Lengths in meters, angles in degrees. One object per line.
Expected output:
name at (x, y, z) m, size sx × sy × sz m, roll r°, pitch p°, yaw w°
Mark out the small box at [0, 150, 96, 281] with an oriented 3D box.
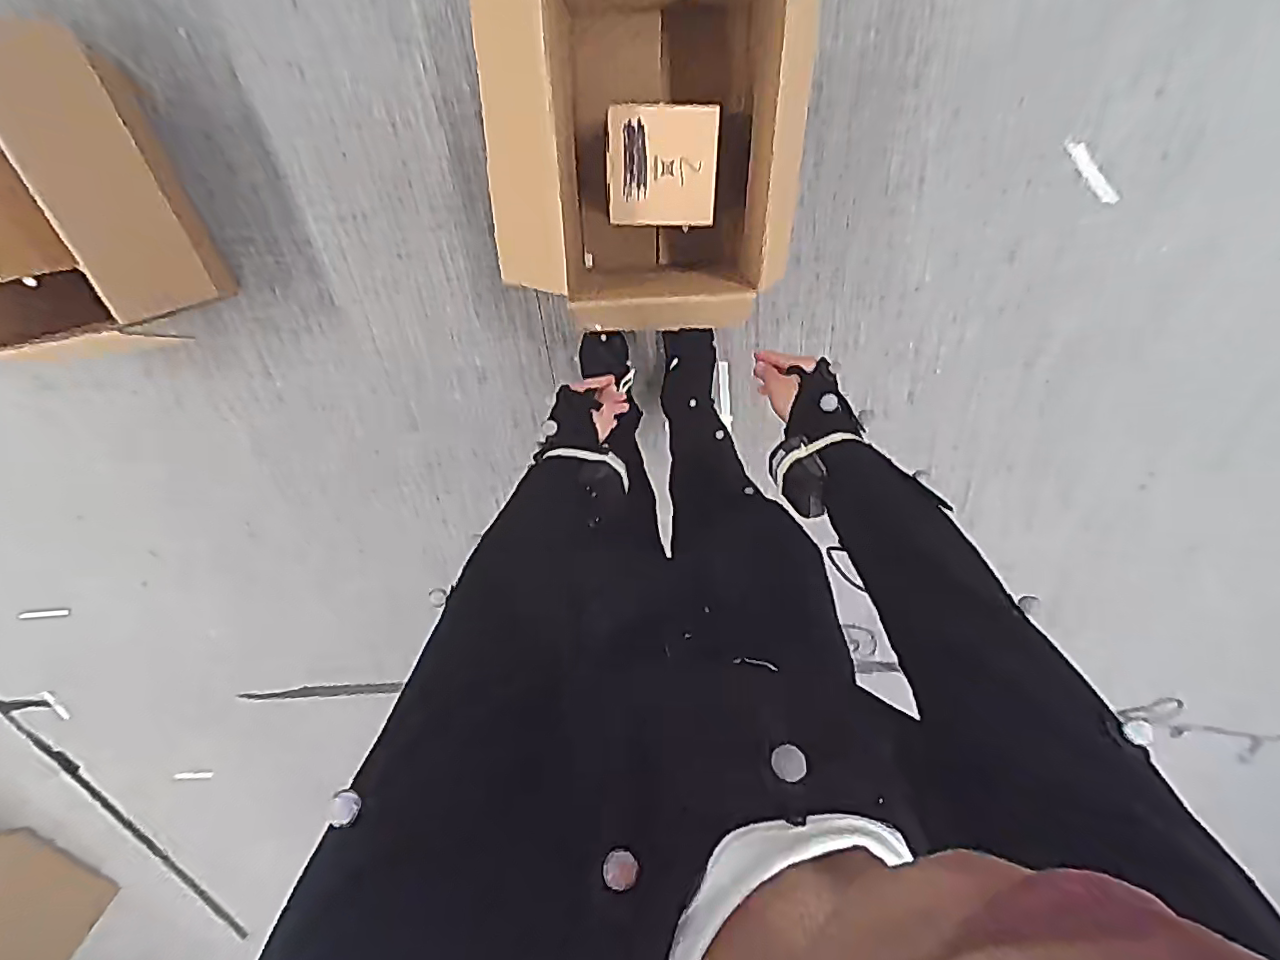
small box at (-1.030, -0.403, 0.834) m, size 0.168 × 0.176 × 0.179 m, roll -6°, pitch 120°, yaw 5°
